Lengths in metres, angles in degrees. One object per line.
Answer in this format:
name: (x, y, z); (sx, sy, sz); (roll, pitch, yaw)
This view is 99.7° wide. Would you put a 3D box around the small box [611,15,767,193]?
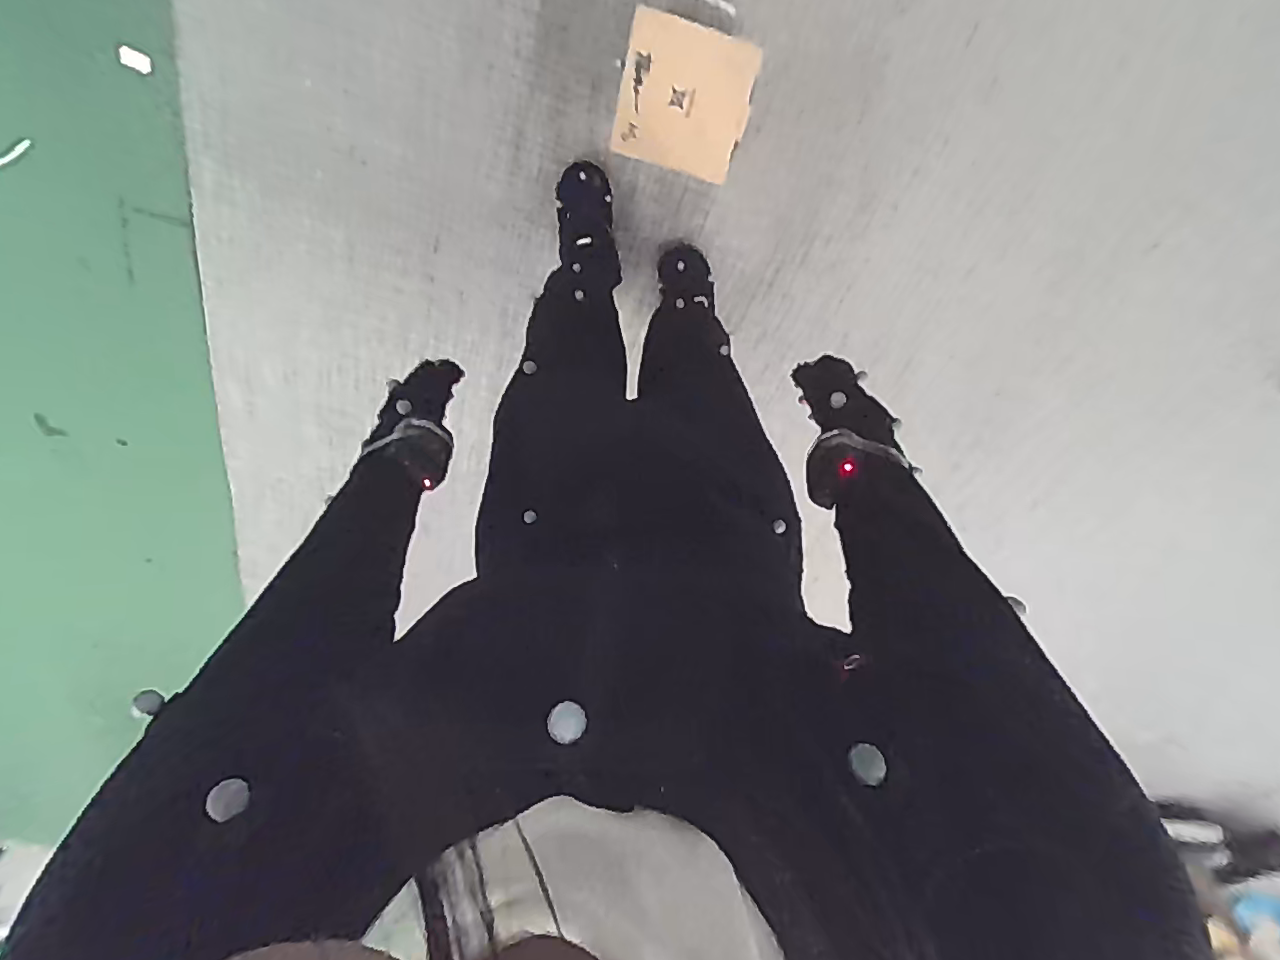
small box: (0.065, -0.555, 0.806); (0.179, 0.176, 0.168); (15, 125, -7)
